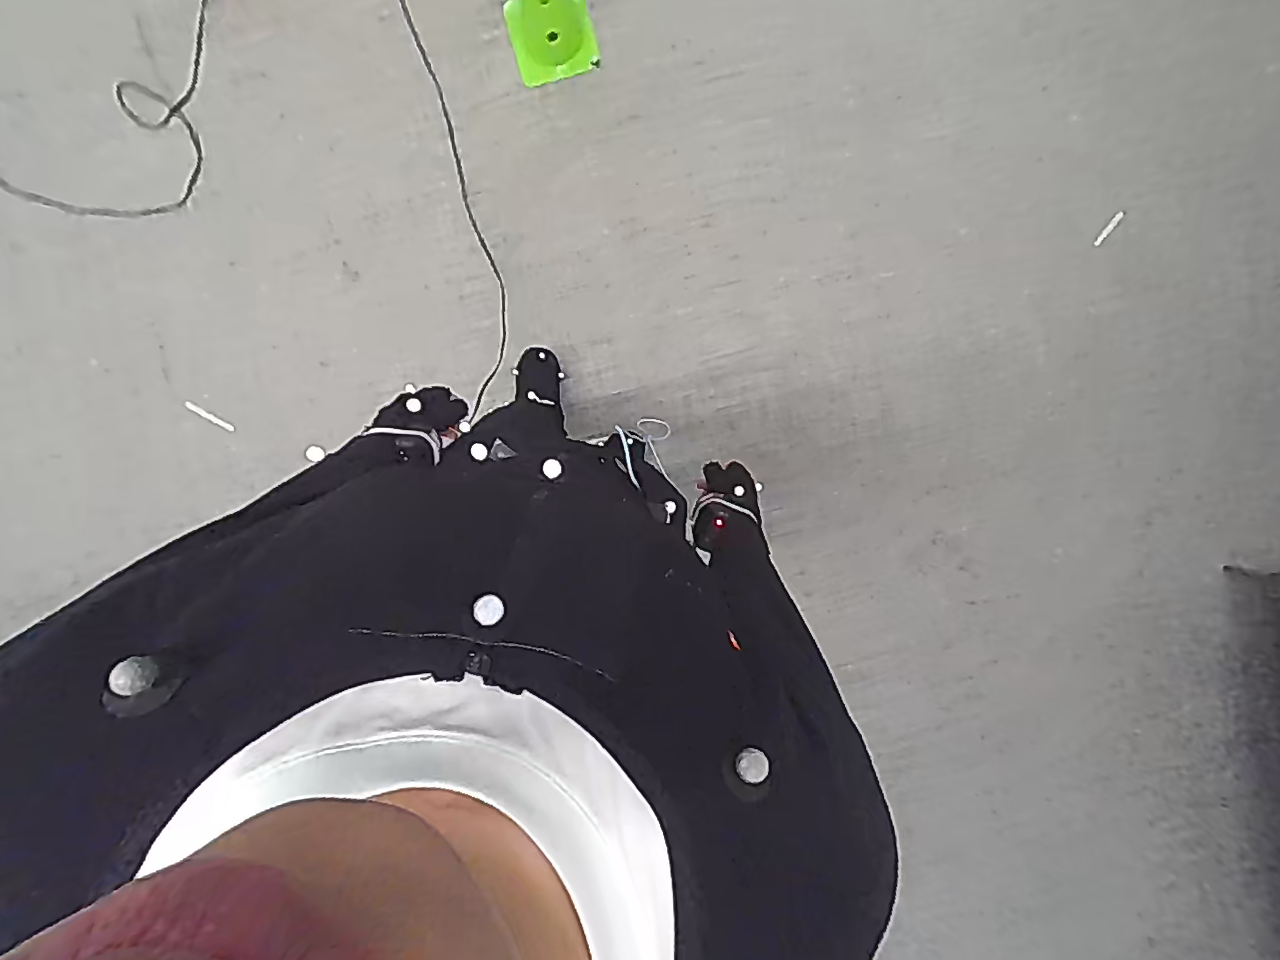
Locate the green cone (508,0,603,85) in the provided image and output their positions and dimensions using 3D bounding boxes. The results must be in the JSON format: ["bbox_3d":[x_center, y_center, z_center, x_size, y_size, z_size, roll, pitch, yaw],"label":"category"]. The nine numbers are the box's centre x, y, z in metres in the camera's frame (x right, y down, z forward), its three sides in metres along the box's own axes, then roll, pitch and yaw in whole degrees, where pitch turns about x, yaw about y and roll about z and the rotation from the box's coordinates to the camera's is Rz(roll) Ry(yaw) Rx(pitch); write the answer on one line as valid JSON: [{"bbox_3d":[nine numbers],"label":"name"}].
[{"bbox_3d":[-0.209,-1.065,1.143,0.202,0.368,0.200,-14,98,4],"label":"green cone"}]
